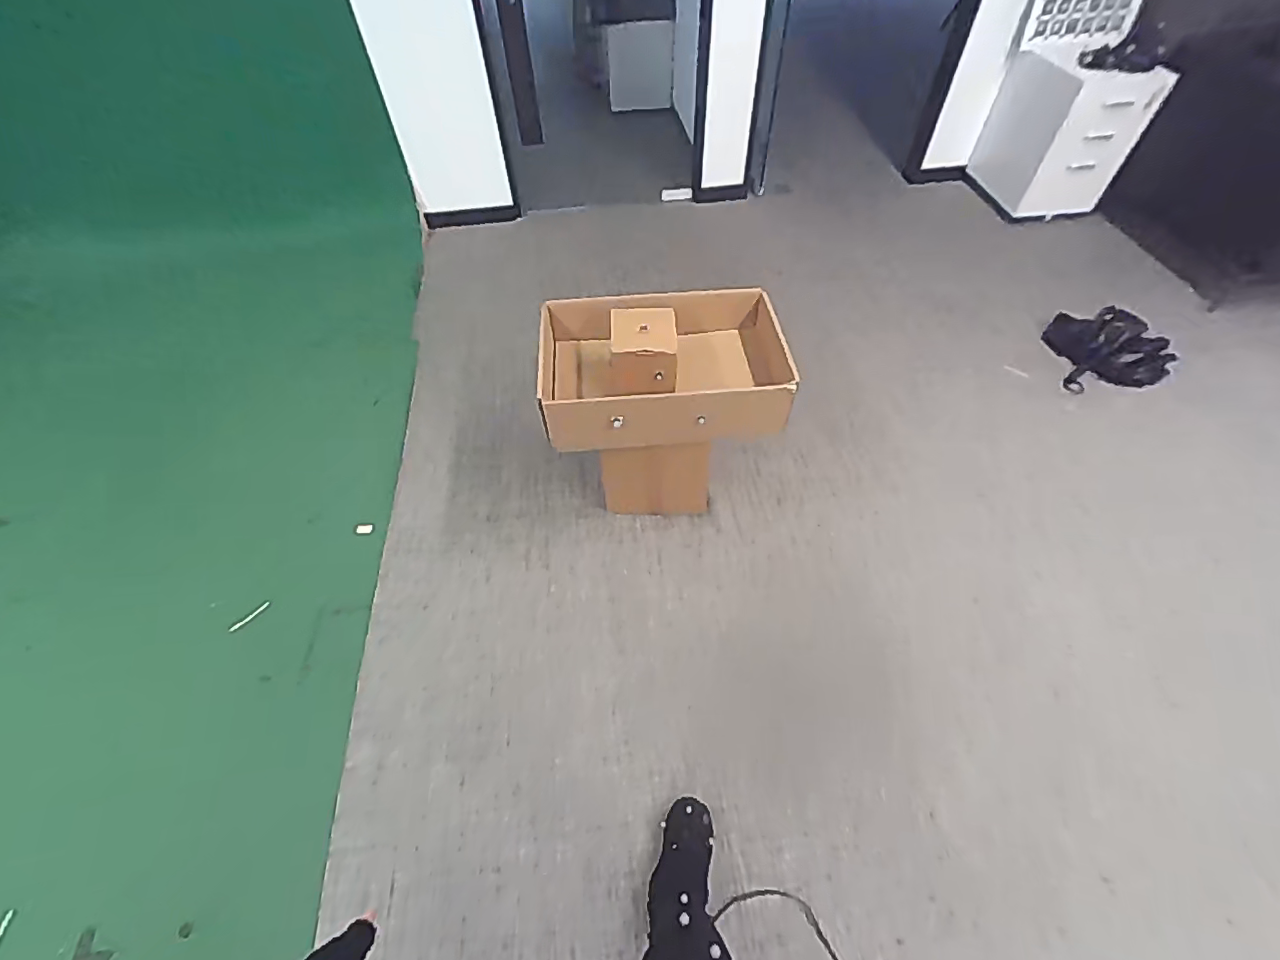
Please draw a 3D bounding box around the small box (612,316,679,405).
[{"bbox_3d":[0.011,-0.310,1.421,0.168,0.176,0.179,-1,50,-2],"label":"small box"}]
